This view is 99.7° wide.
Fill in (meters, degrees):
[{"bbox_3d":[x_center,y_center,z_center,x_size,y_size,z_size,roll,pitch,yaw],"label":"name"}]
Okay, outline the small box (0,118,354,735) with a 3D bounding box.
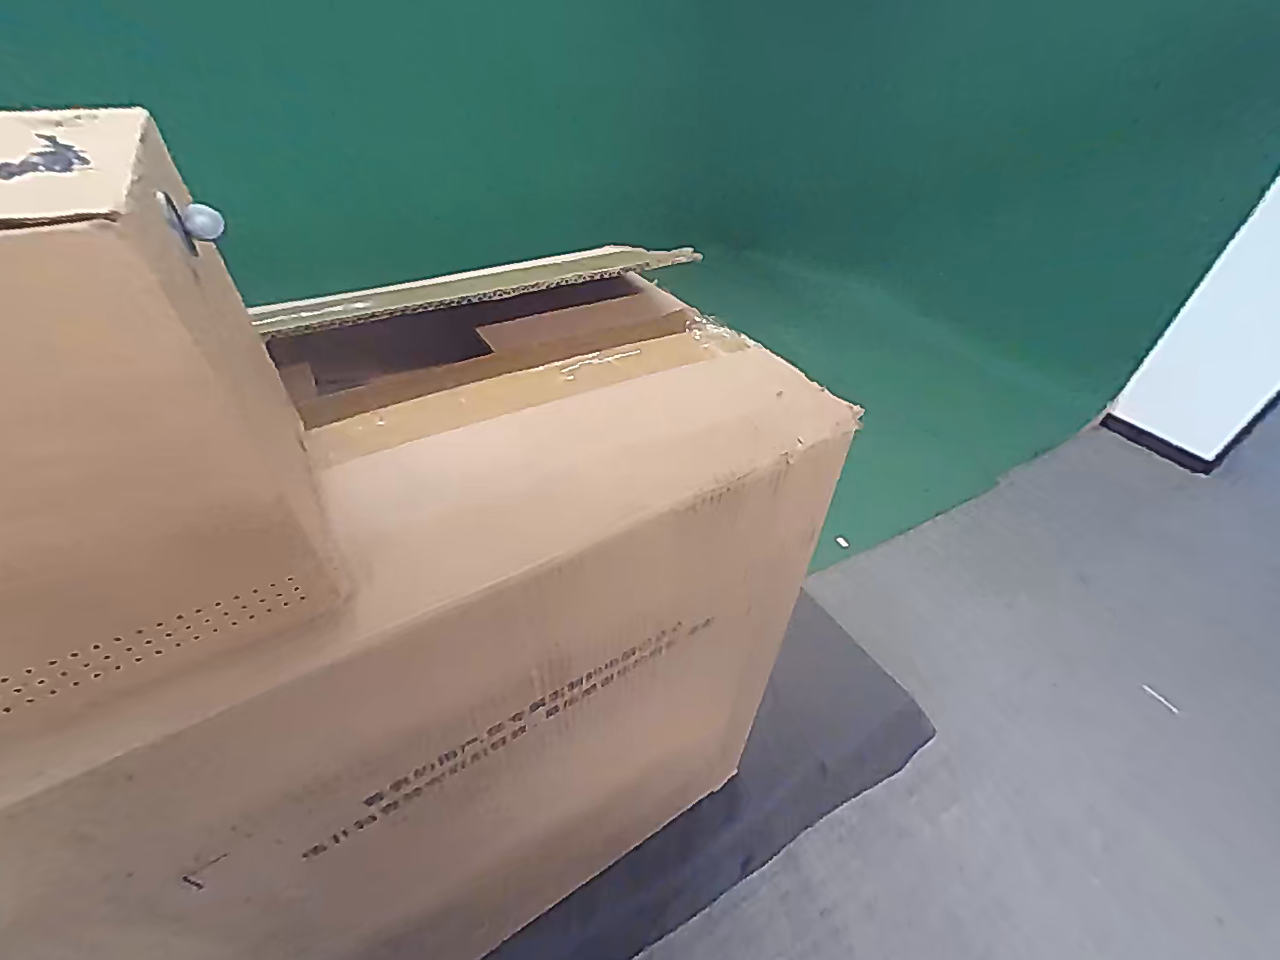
[{"bbox_3d":[-0.247,-0.022,0.214,0.179,0.176,0.168,-23,49,-23],"label":"small box"}]
